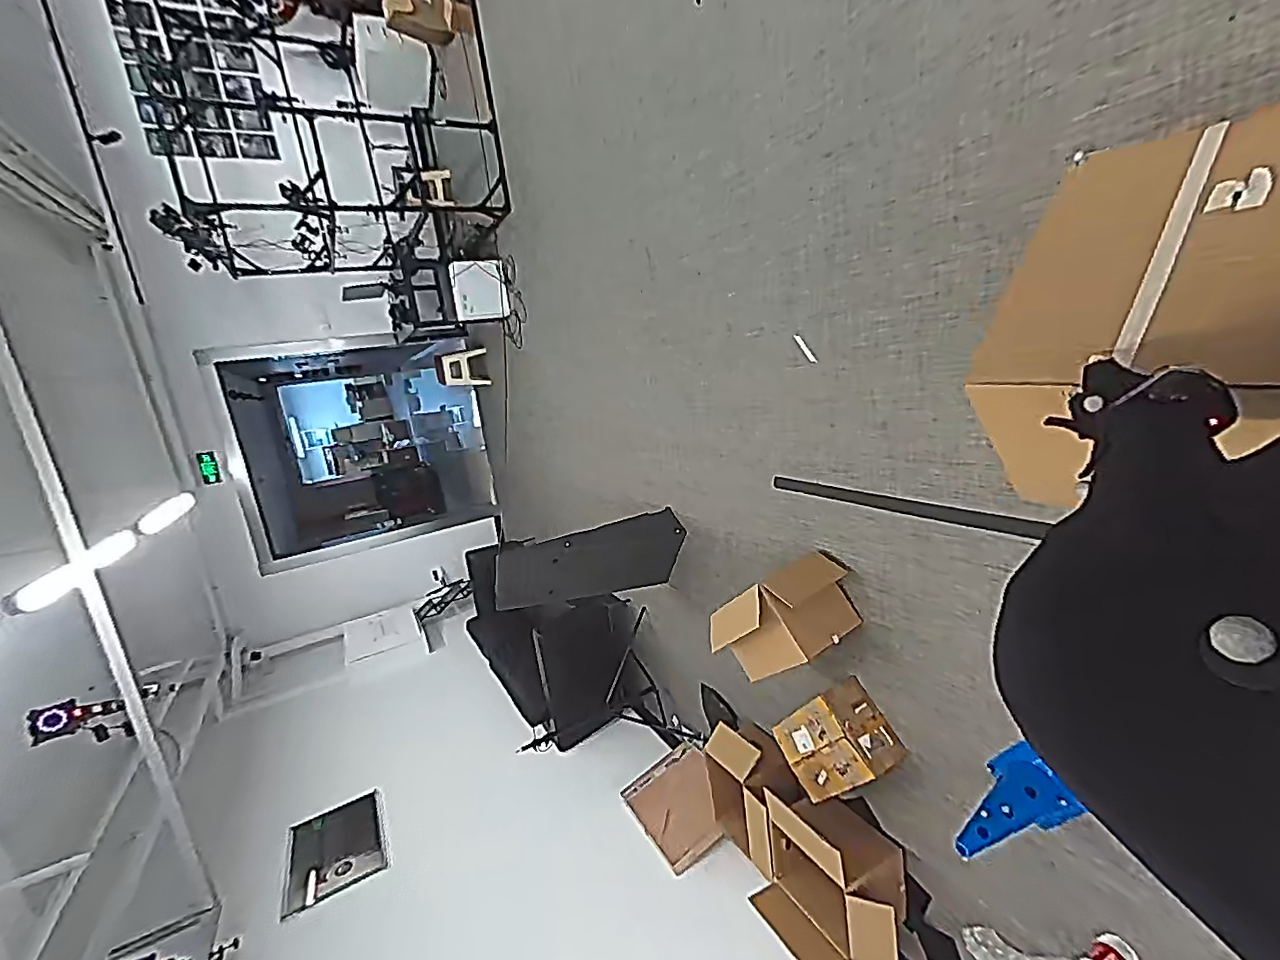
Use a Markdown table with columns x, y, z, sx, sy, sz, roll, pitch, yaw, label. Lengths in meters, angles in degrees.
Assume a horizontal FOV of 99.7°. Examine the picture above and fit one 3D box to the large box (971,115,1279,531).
| x | y | z | sx | sy | sz | roll | pitch | yaw | label |
| --- | --- | --- | --- | --- | --- | --- | --- | --- | --- |
| 0.725 | -0.191 | 0.725 | 0.320 | 0.408 | 0.320 | 39 | 166 | -33 | large box |
